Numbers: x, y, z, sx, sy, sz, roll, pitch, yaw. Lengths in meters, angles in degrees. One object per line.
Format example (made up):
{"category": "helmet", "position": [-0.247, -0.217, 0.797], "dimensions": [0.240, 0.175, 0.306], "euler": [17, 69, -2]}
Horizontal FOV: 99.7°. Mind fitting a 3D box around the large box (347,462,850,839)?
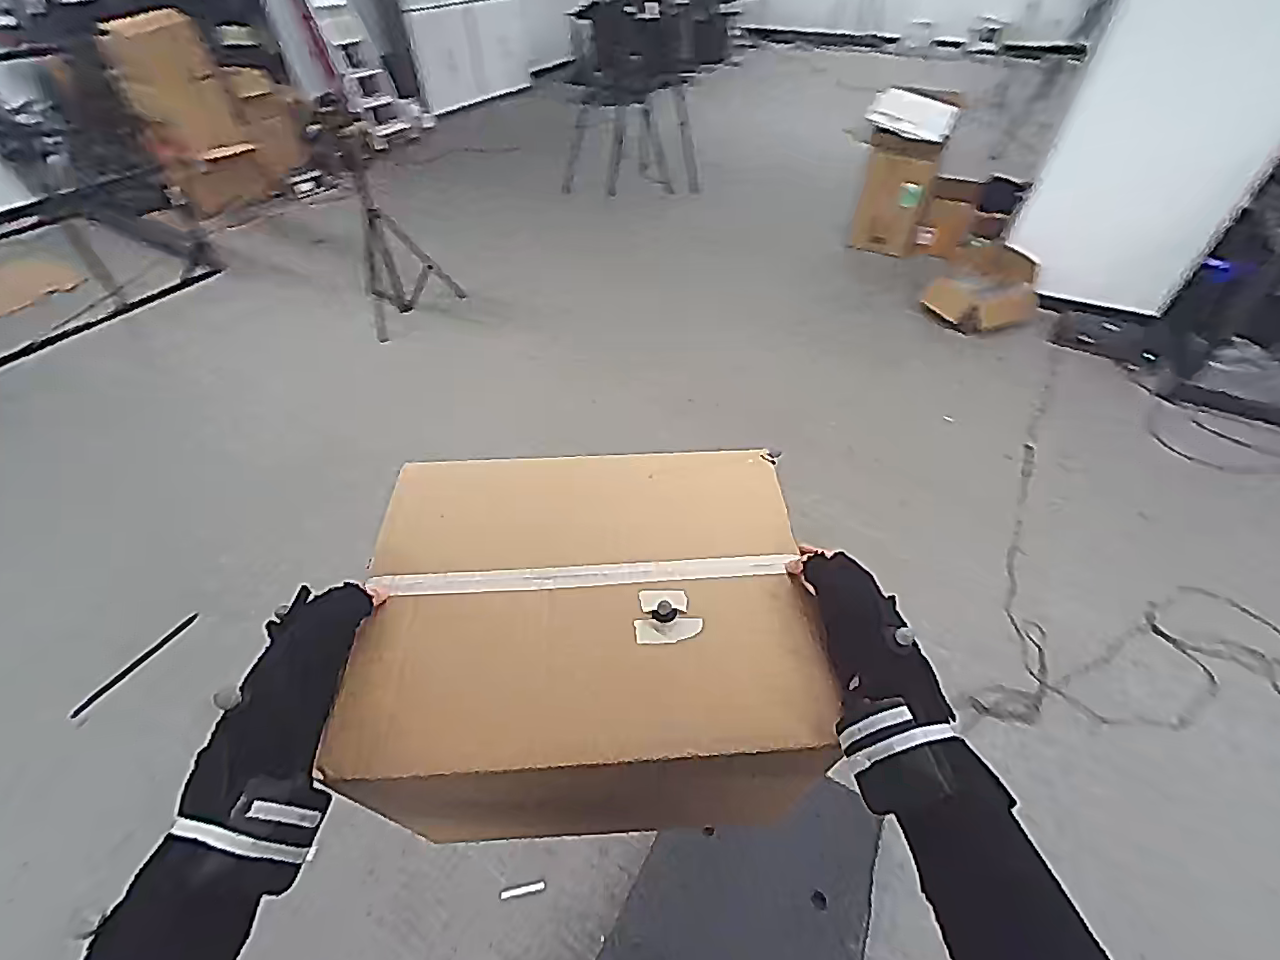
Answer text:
{"category": "large box", "position": [-0.039, 0.199, 0.629], "dimensions": [0.408, 0.320, 0.320], "euler": [-2, 49, -2]}
